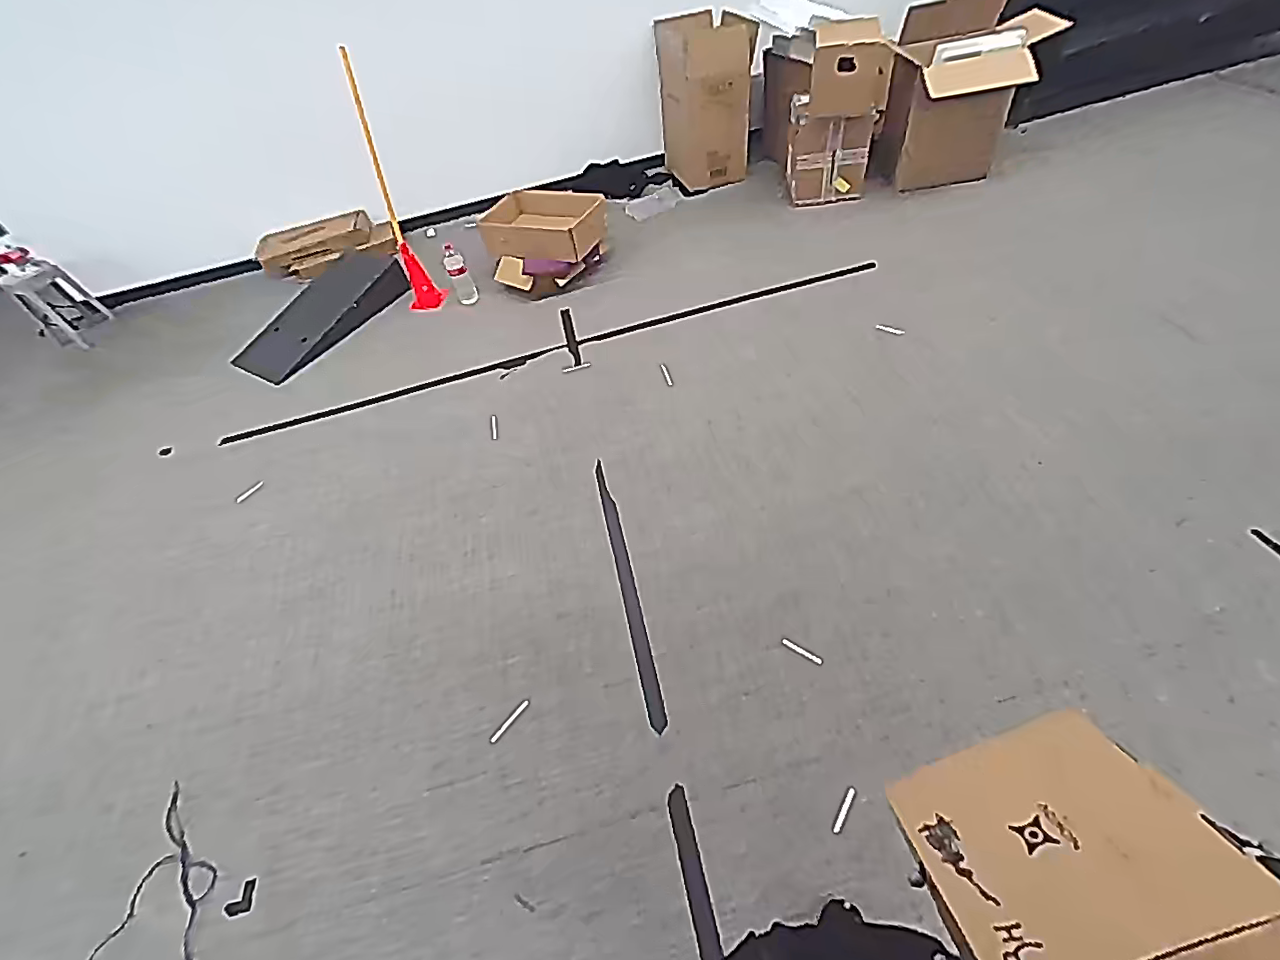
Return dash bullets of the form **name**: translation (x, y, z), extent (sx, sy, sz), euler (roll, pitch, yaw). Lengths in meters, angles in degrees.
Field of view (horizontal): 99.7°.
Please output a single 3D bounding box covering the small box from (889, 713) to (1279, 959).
- **small box**: translation (0.332, 0.325, 0.412), extent (0.179, 0.176, 0.168), euler (-26, 13, 6)
